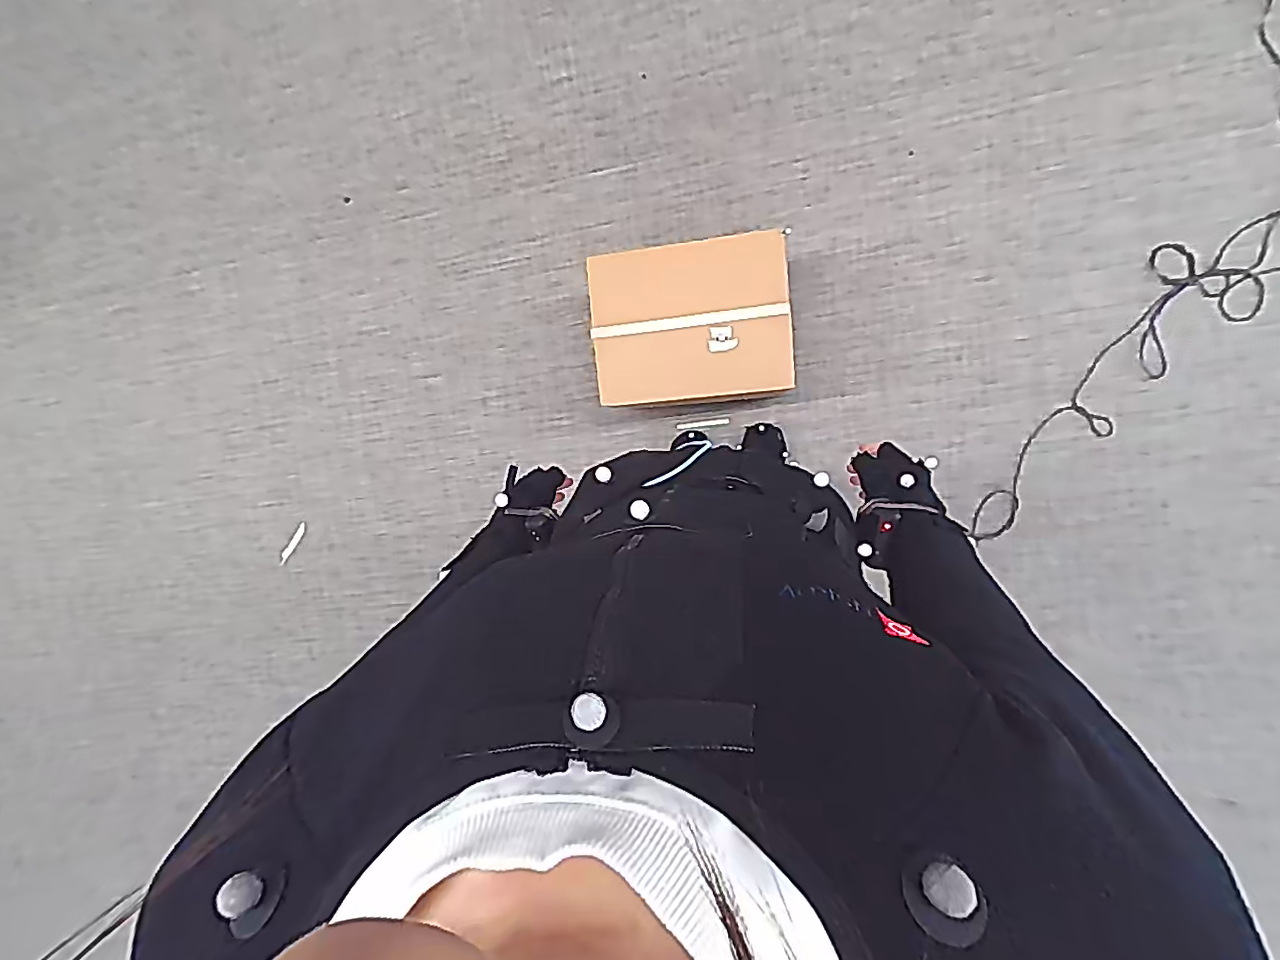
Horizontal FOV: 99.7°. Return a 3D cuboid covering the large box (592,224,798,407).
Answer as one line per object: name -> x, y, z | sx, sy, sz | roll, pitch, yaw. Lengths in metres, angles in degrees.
large box -> 0.132, -0.347, 1.250 | 0.408, 0.320, 0.320 | -4, 96, 10
